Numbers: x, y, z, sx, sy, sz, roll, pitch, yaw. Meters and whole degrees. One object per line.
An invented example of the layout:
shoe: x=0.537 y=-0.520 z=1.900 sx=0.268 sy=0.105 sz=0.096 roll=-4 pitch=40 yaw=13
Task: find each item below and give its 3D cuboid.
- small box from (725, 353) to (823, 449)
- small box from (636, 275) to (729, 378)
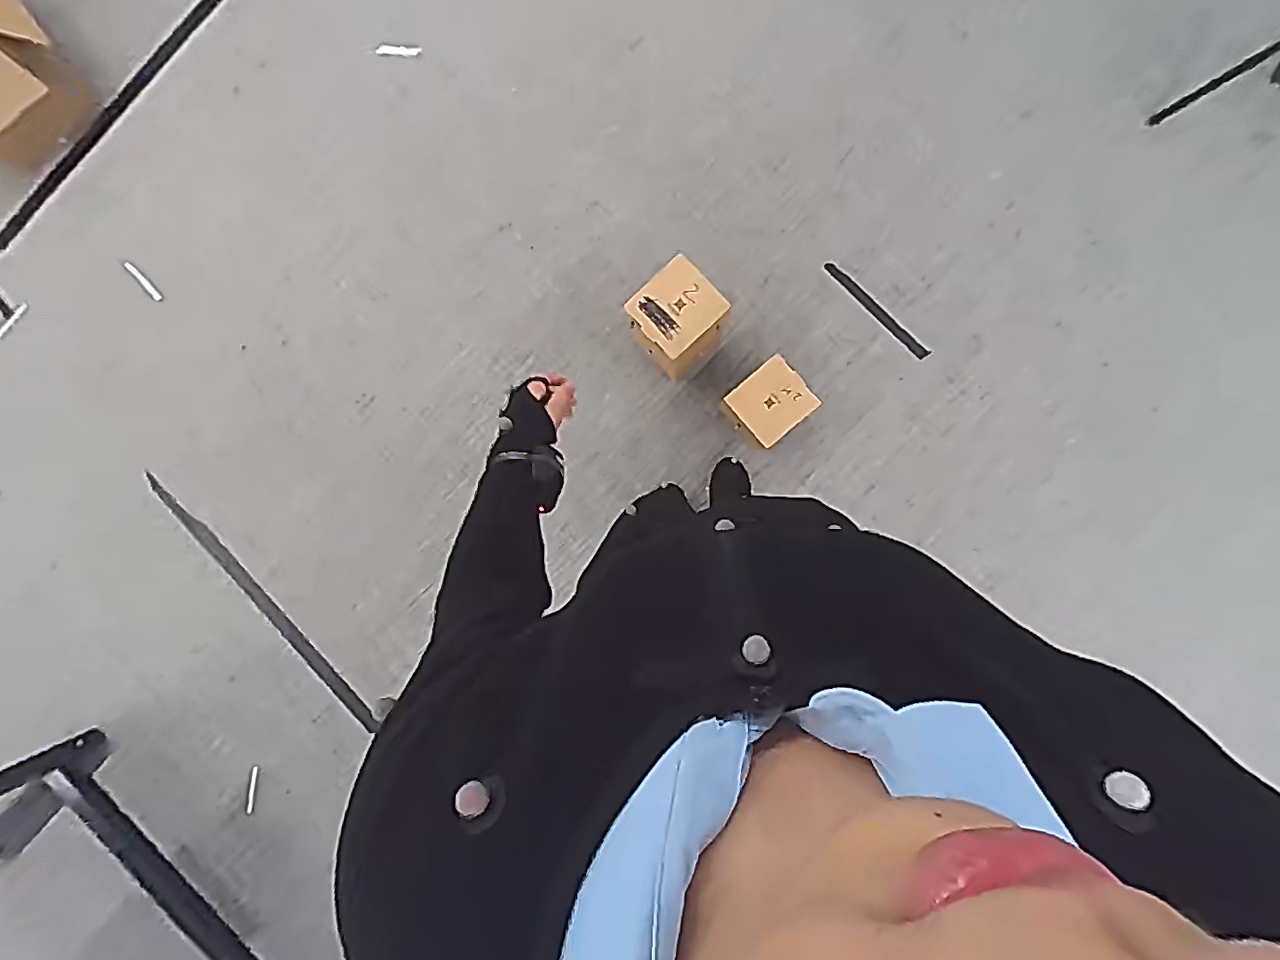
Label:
small box: x=0.334 y=-0.193 z=1.389 sx=0.179 sy=0.176 sz=0.168 roll=-41 pitch=88 yaw=4
small box: x=0.109 y=-0.390 z=1.408 sx=0.179 sy=0.176 sz=0.168 roll=-41 pitch=87 yaw=4
